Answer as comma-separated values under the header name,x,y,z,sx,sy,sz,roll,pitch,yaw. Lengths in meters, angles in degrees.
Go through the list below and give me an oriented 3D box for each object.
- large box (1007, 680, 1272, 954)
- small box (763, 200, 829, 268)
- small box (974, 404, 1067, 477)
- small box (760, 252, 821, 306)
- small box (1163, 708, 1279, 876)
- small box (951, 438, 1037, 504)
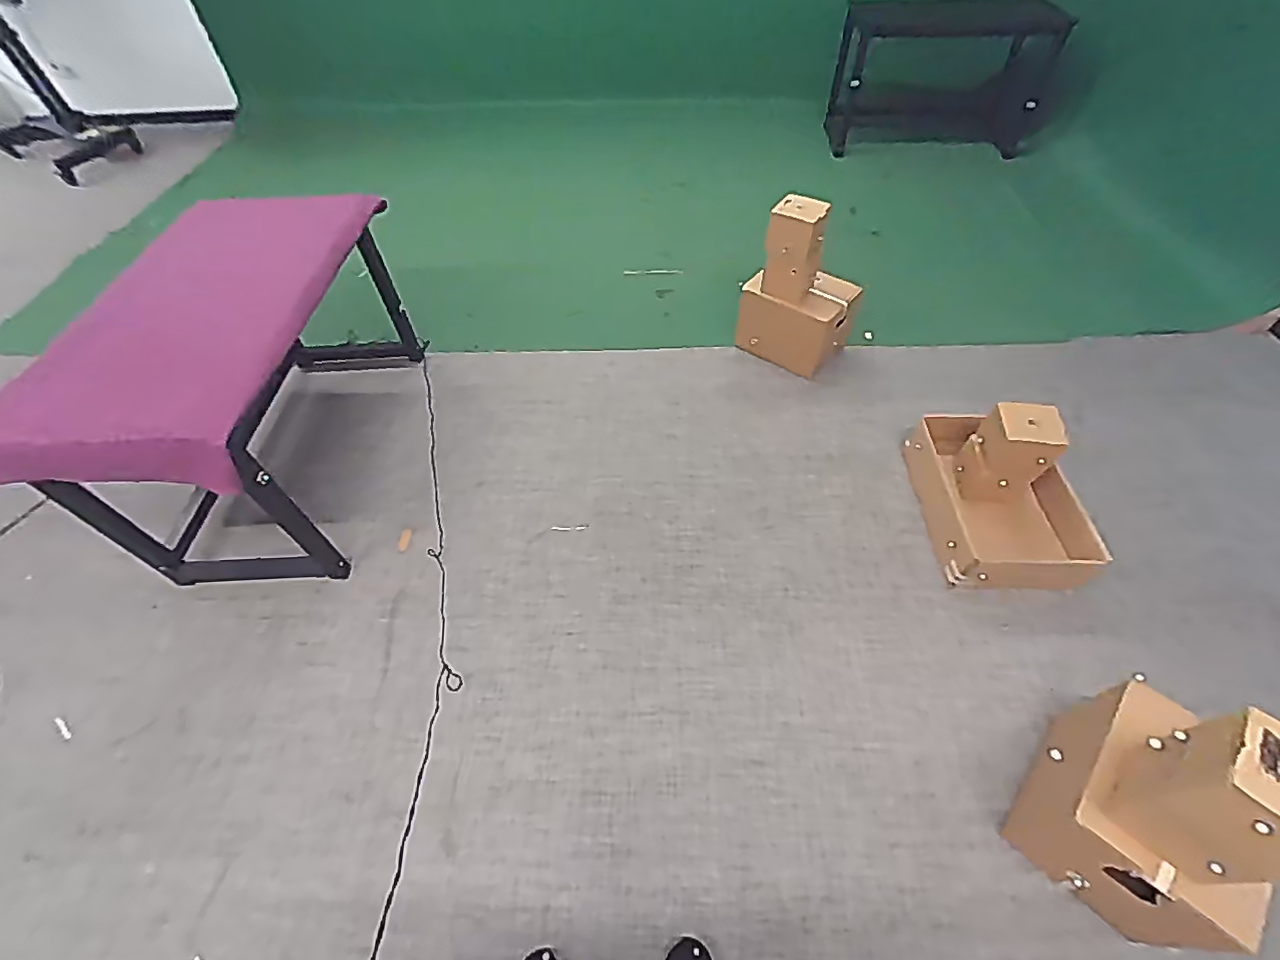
name,x,y,z,sx,sy,sz,roll,pitch,yaw
large box,1.134,0.759,1.239,0.320,0.320,0.408,36,60,26
small box,0.600,-0.948,2.093,0.179,0.176,0.168,28,58,21
small box,1.224,-0.124,1.752,0.179,0.176,0.168,6,55,8
small box,0.614,-0.842,2.218,0.179,0.176,0.168,27,57,21
small box,1.045,0.525,0.904,0.179,0.176,0.168,37,61,27
small box,1.226,-0.029,1.885,0.179,0.176,0.168,3,55,6
